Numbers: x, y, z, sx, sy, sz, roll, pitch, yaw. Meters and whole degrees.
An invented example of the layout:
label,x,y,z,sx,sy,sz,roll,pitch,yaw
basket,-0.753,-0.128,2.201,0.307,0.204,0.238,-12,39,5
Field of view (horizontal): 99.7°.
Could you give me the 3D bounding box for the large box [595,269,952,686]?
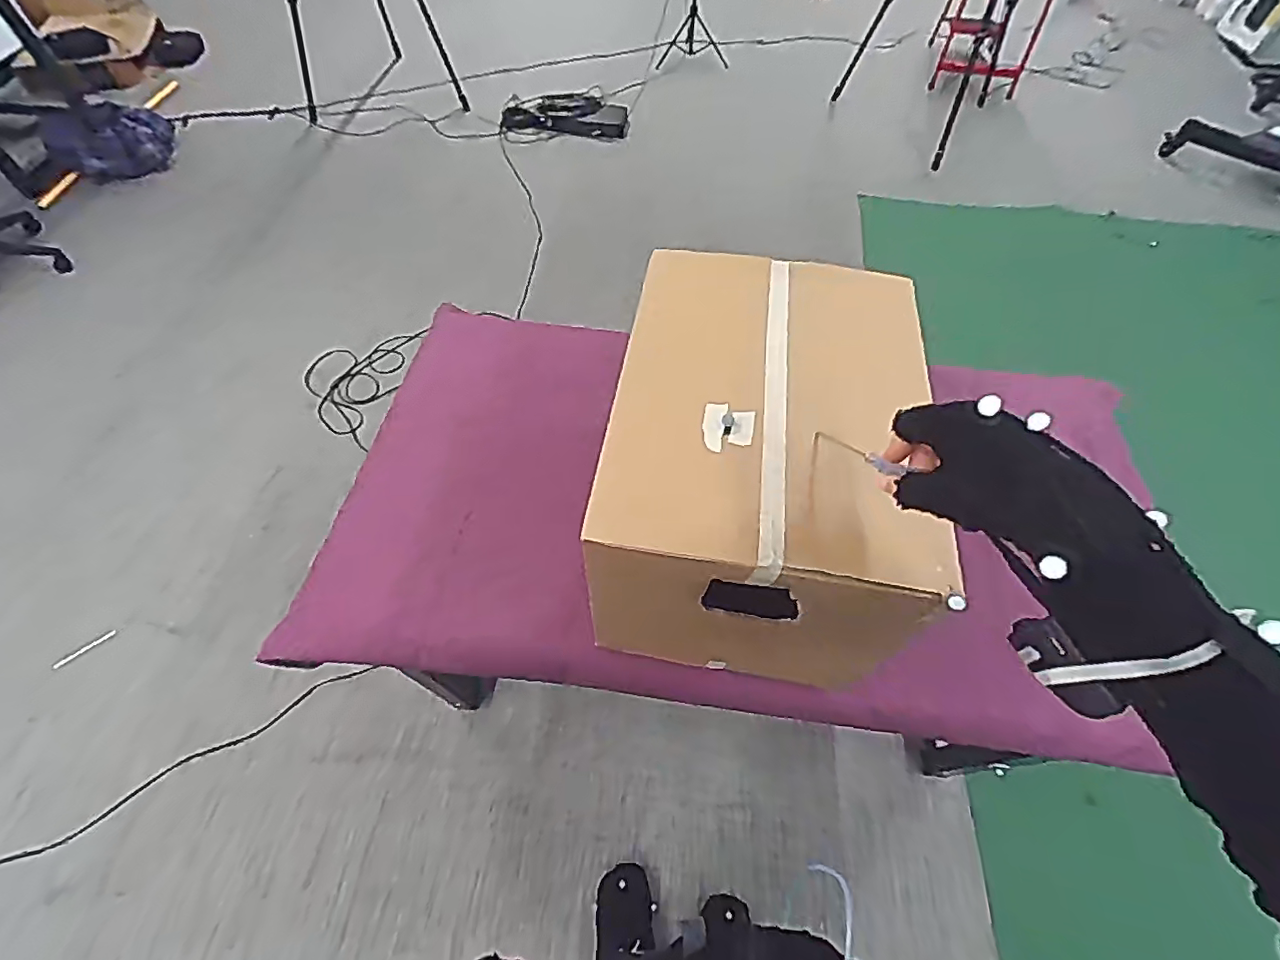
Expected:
label,x,y,z,sx,sy,sz,roll,pitch,yaw
large box,0.135,0.002,0.688,0.320,0.320,0.408,8,58,5
